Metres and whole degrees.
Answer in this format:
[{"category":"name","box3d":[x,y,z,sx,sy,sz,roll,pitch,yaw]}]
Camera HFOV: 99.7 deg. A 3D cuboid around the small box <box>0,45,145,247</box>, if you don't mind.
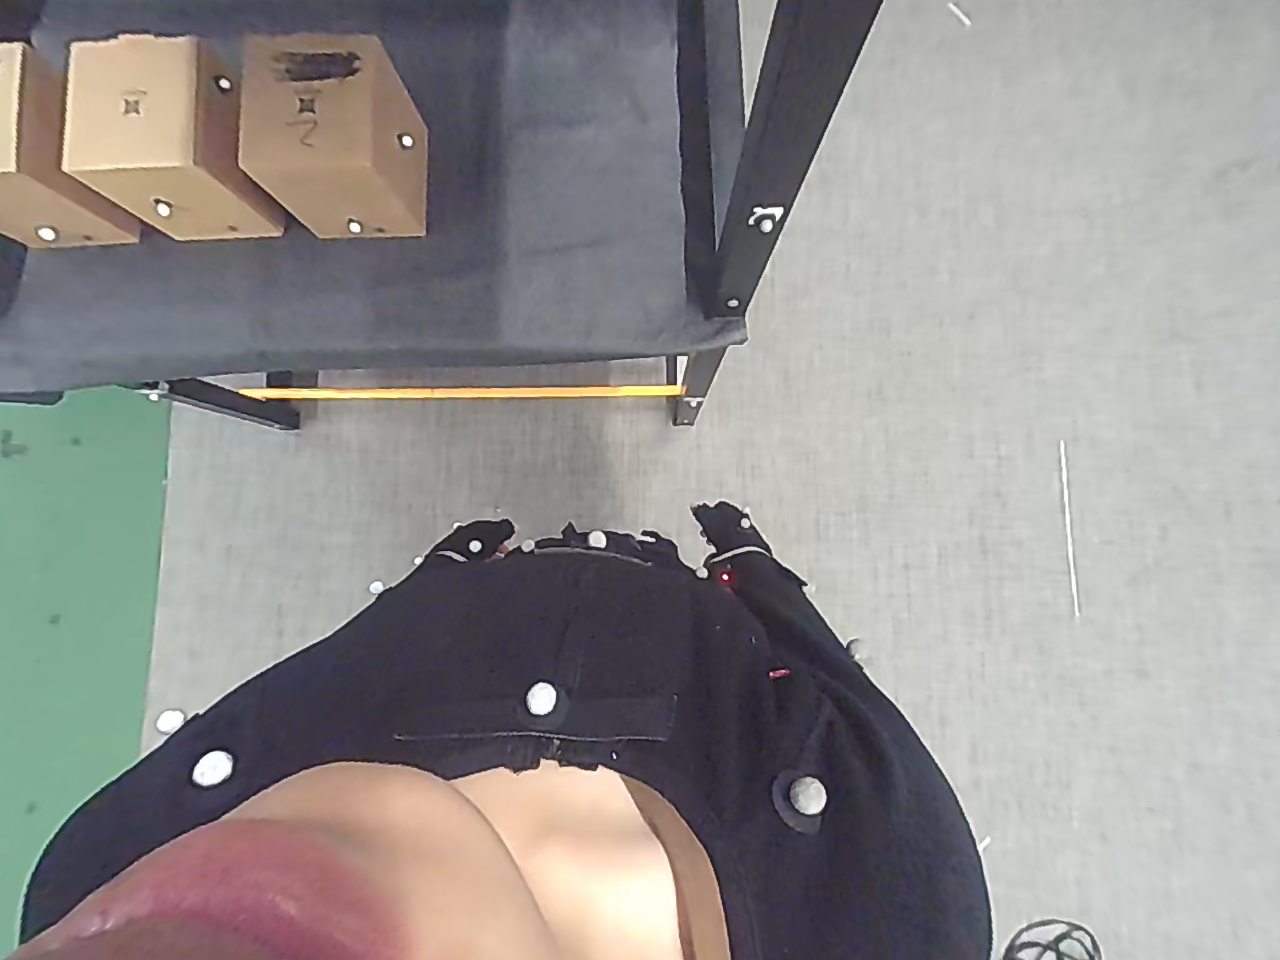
[{"category":"small box","box3d":[-0.843,-0.451,0.752,0.168,0.176,0.179,-3,85,1]}]
